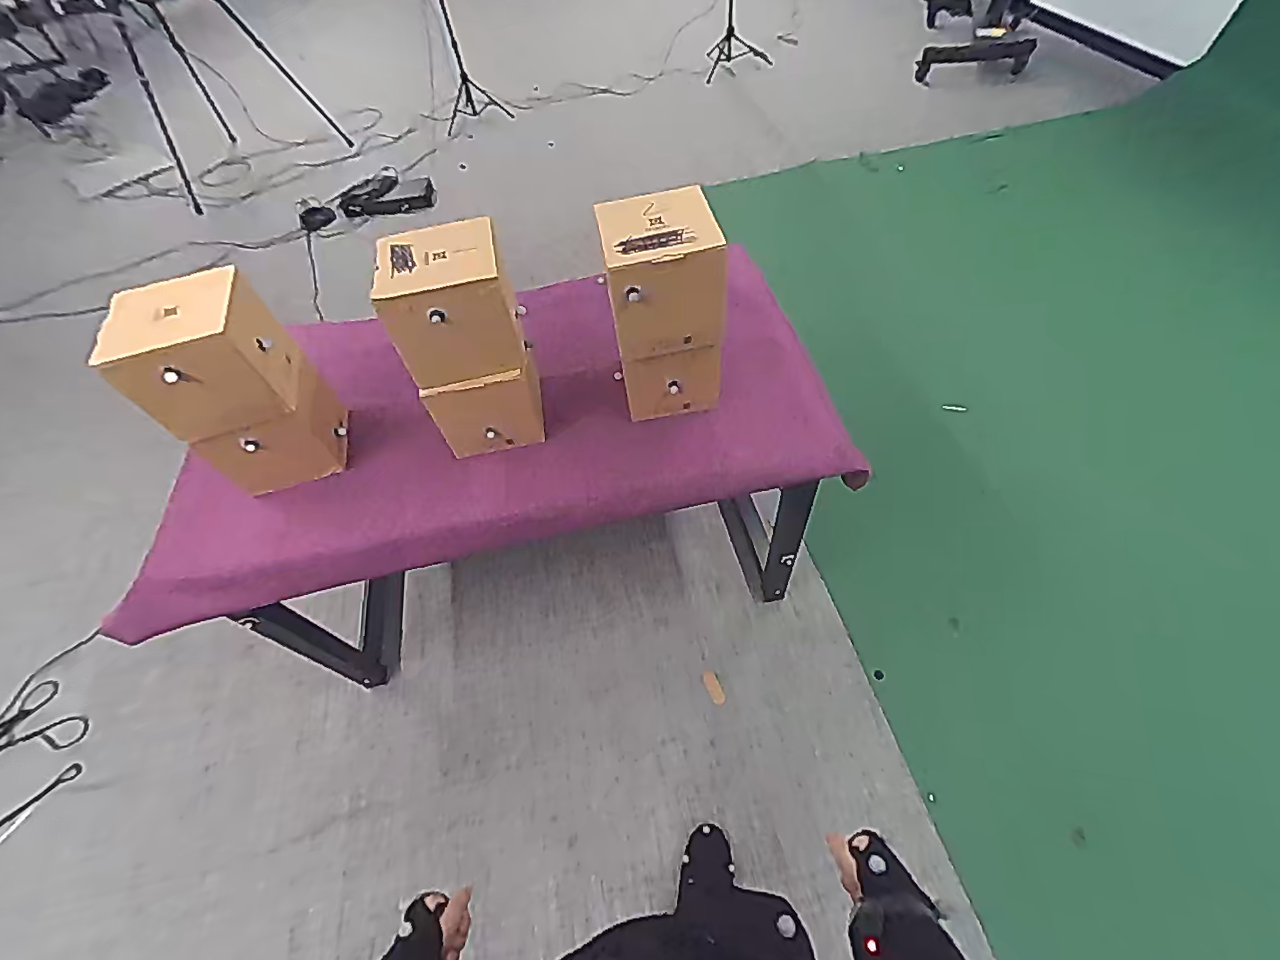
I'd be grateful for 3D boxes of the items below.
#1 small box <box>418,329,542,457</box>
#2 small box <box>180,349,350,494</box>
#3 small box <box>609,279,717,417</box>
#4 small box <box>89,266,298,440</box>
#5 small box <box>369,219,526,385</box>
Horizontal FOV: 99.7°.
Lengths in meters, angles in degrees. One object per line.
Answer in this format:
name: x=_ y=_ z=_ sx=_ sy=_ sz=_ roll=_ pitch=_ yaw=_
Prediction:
small box: x=-0.277 y=-0.167 z=0.968 sx=0.168 sy=0.176 sz=0.179 roll=-11 pitch=55 yaw=-1
small box: x=-0.648 y=-0.098 z=0.959 sx=0.179 sy=0.176 sz=0.168 roll=-16 pitch=56 yaw=-6
small box: x=0.043 y=-0.230 z=0.978 sx=0.168 sy=0.176 sz=0.179 roll=-9 pitch=55 yaw=0
small box: x=-0.656 y=-0.188 z=0.824 sx=0.179 sy=0.176 sz=0.168 roll=-18 pitch=56 yaw=-6
small box: x=-0.289 y=-0.270 z=0.840 sx=0.179 sy=0.176 sz=0.168 roll=-13 pitch=54 yaw=-4
